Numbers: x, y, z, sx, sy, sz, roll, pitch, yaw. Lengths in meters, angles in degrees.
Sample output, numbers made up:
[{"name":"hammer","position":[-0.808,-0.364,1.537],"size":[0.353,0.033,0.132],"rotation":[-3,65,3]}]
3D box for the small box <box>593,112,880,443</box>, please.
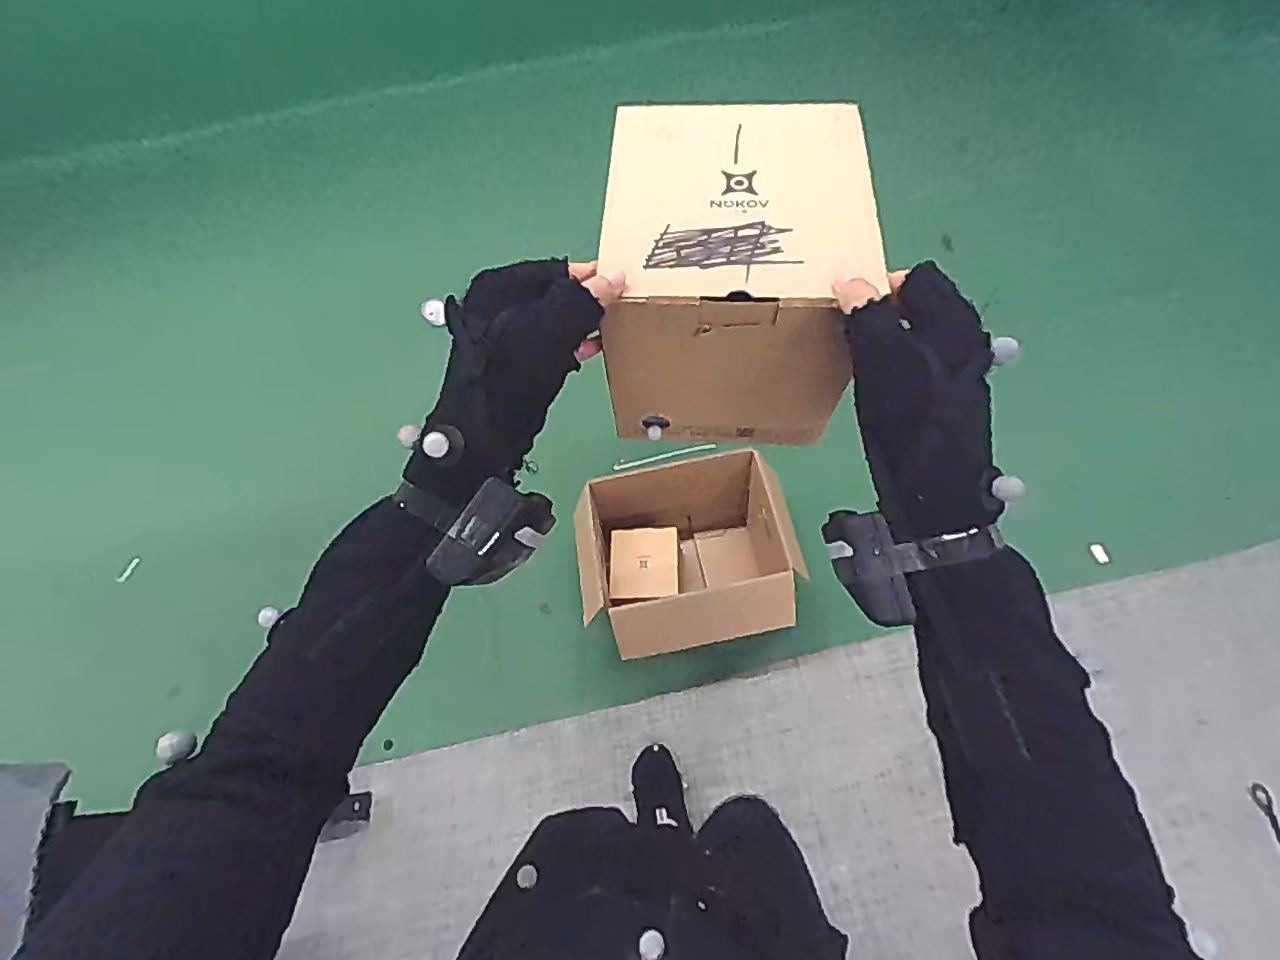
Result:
[{"name":"small box","position":[0.064,-0.142,0.413],"size":[0.168,0.176,0.179],"rotation":[3,65,4]}]
